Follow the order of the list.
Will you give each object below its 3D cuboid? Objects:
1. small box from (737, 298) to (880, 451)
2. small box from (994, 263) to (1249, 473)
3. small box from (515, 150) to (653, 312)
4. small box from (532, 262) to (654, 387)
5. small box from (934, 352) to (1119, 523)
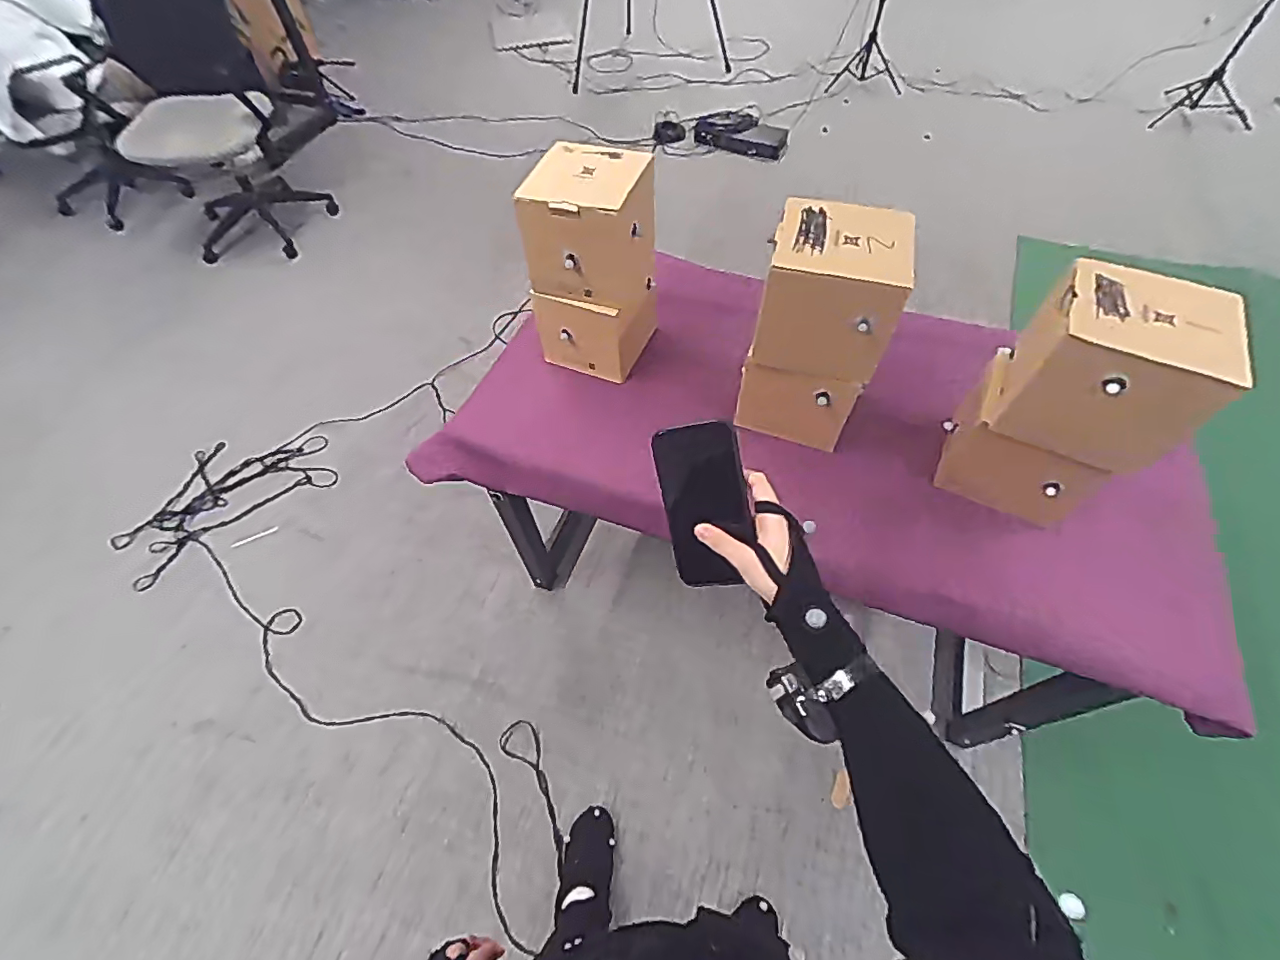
[{"bbox_3d":[0.277,-0.171,0.910,0.179,0.176,0.168,18,58,14],"label":"small box"},{"bbox_3d":[0.582,-0.135,0.678,0.179,0.176,0.168,23,59,16],"label":"small box"},{"bbox_3d":[-0.078,-0.403,0.885,0.168,0.176,0.179,14,58,11],"label":"small box"},{"bbox_3d":[-0.075,-0.304,1.017,0.168,0.176,0.179,19,58,14],"label":"small box"},{"bbox_3d":[0.585,-0.058,0.822,0.179,0.176,0.168,24,59,18],"label":"small box"}]
